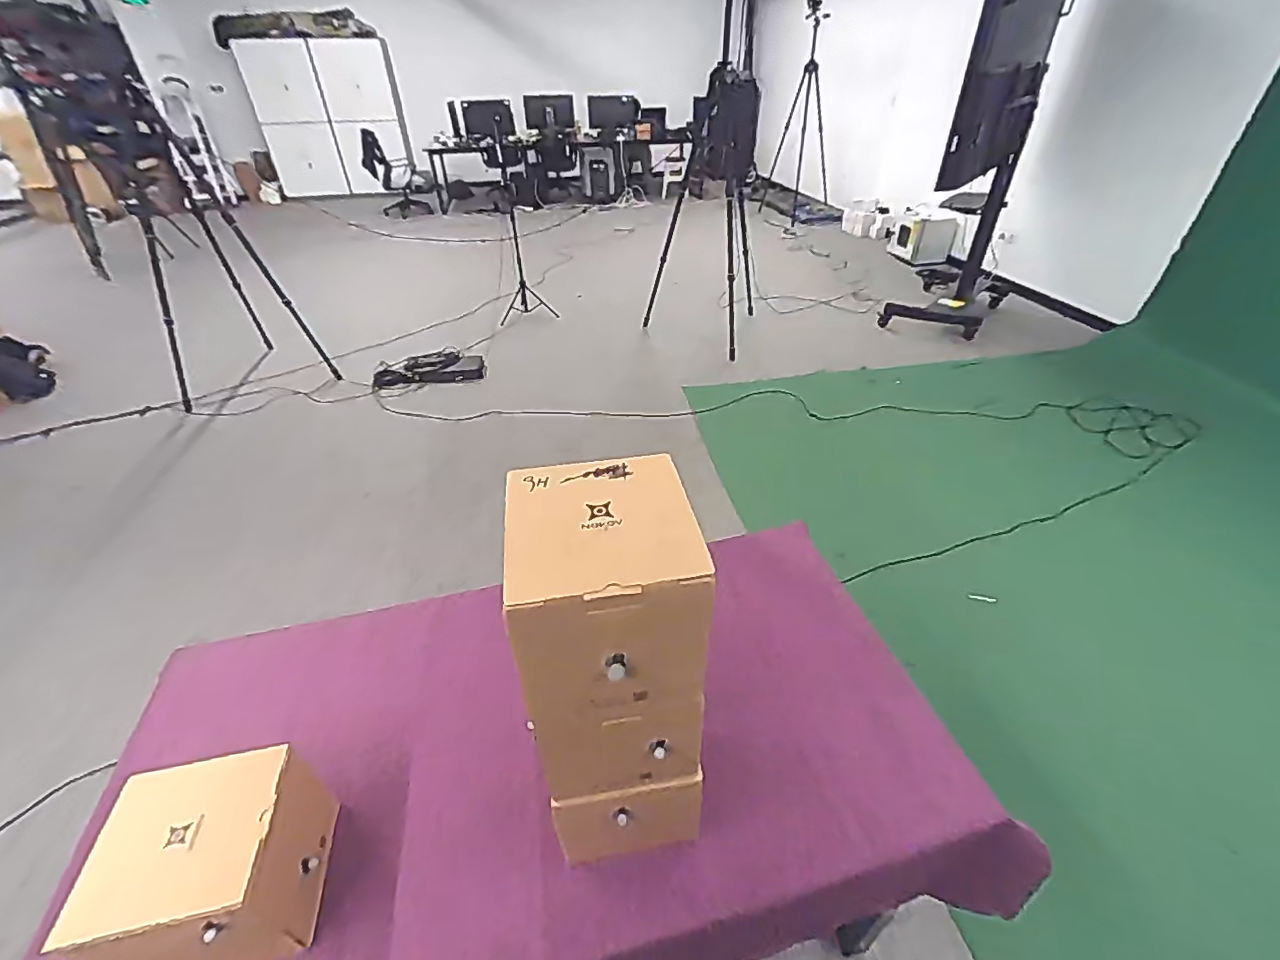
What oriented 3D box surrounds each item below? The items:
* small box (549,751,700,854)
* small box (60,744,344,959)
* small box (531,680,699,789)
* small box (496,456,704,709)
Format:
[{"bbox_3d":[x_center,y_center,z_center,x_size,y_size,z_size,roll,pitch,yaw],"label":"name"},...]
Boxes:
[{"bbox_3d":[-0.022,0.366,0.718,0.179,0.176,0.168,-7,38,-5],"label":"small box"},{"bbox_3d":[-0.486,0.450,0.639,0.179,0.176,0.168,-9,38,-9],"label":"small box"},{"bbox_3d":[-0.030,0.232,0.626,0.168,0.176,0.179,-6,37,-6],"label":"small box"},{"bbox_3d":[-0.038,0.101,0.527,0.168,0.176,0.179,-7,38,-7],"label":"small box"}]
